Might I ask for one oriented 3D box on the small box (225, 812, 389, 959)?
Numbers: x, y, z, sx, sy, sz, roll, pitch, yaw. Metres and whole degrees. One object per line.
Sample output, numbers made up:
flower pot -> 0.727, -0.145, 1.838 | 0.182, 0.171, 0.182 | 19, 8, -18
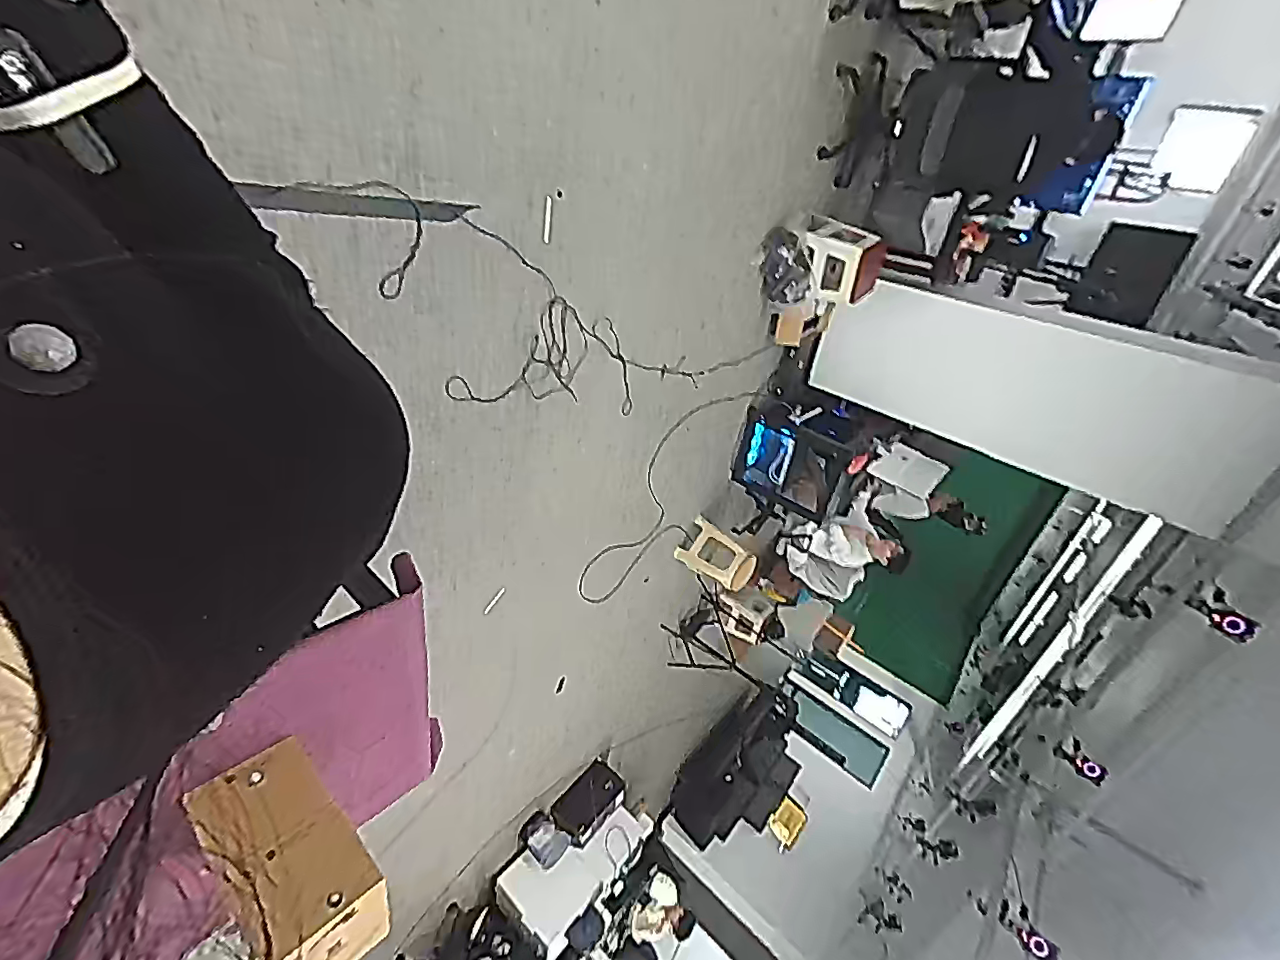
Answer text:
small box -> -0.516, 0.674, 0.848 | 0.168, 0.176, 0.179 | -21, 133, -47

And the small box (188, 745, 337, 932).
small box -> -0.639, 0.604, 0.930 | 0.168, 0.176, 0.179 | -22, 132, -46
